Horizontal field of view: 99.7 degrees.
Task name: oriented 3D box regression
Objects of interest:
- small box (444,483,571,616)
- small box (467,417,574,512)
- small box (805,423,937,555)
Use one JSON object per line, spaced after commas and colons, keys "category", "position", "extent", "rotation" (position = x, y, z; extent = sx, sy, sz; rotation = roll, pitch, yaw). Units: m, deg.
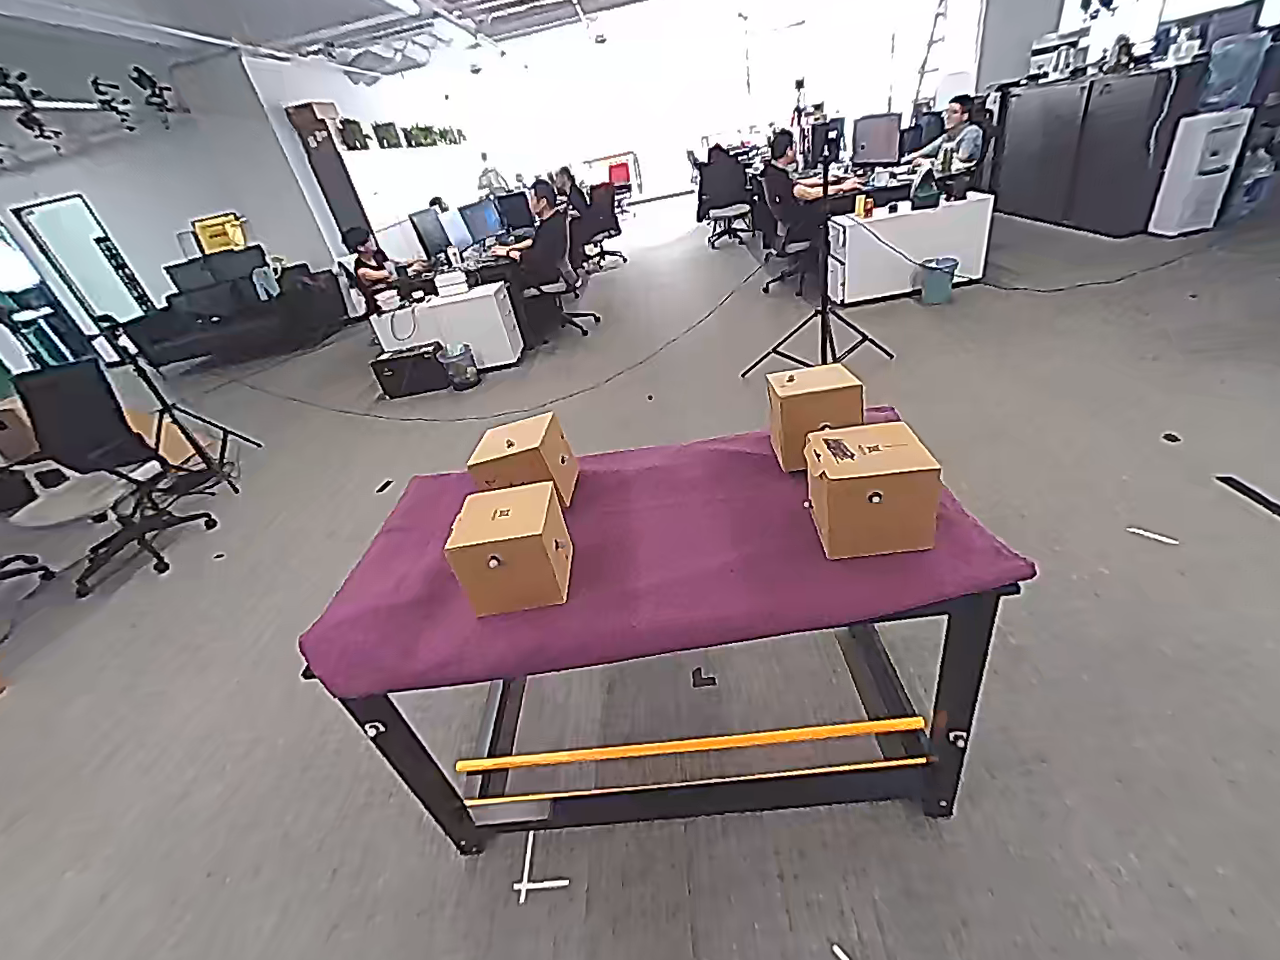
{"category": "small box", "position": [-0.234, 0.131, 1.012], "extent": [0.179, 0.176, 0.168], "rotation": [-10, 32, 4]}
{"category": "small box", "position": [-0.260, -0.025, 1.238], "extent": [0.179, 0.168, 0.176], "rotation": [-14, 30, 12]}
{"category": "small box", "position": [0.401, 0.018, 0.960], "extent": [0.179, 0.176, 0.168], "rotation": [-7, 31, 8]}
